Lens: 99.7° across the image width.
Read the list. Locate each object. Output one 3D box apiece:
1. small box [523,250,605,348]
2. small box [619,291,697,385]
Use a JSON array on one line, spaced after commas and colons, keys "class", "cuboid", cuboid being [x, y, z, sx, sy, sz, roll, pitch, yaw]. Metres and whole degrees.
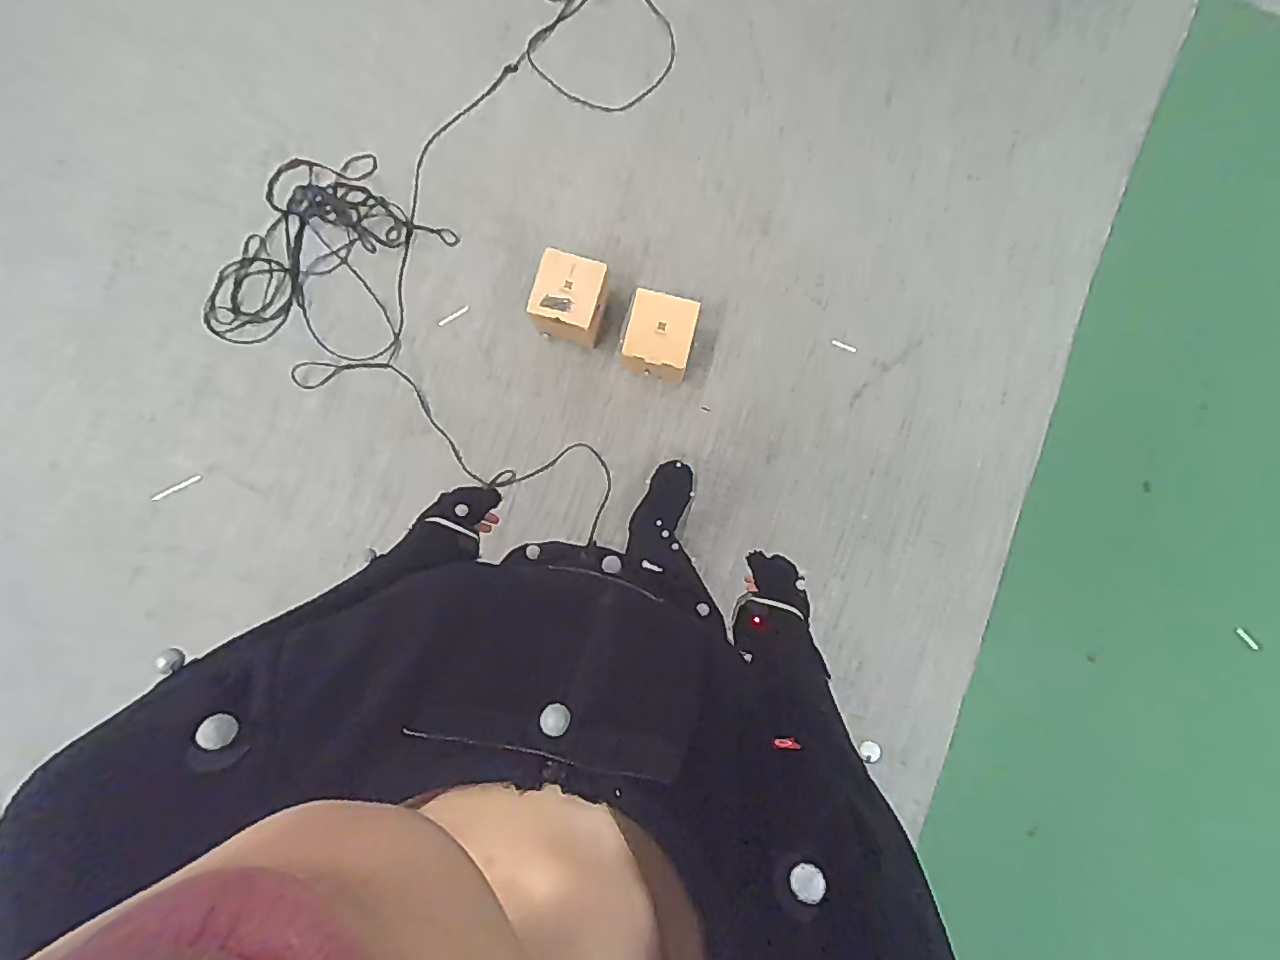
[{"class": "small box", "cuboid": [-0.192, -0.467, 1.425, 0.168, 0.176, 0.179, 16, 86, 0]}, {"class": "small box", "cuboid": [0.043, -0.368, 1.425, 0.168, 0.176, 0.179, 13, 88, 0]}]
